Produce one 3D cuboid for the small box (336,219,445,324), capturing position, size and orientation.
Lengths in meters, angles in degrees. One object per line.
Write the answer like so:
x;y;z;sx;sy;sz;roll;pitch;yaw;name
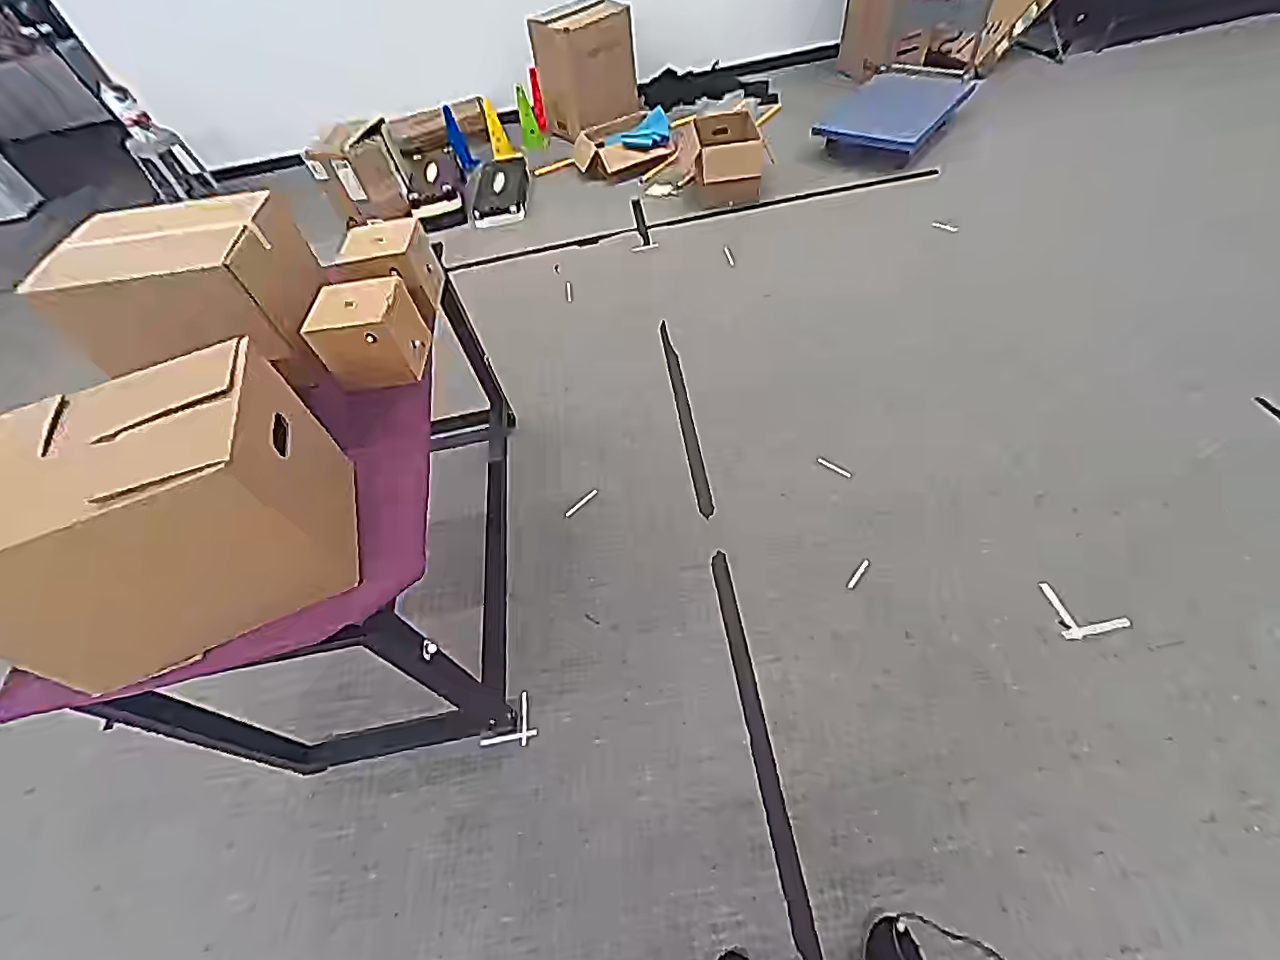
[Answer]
-0.606;-0.514;1.343;0.179;0.176;0.168;-9;51;4;small box
